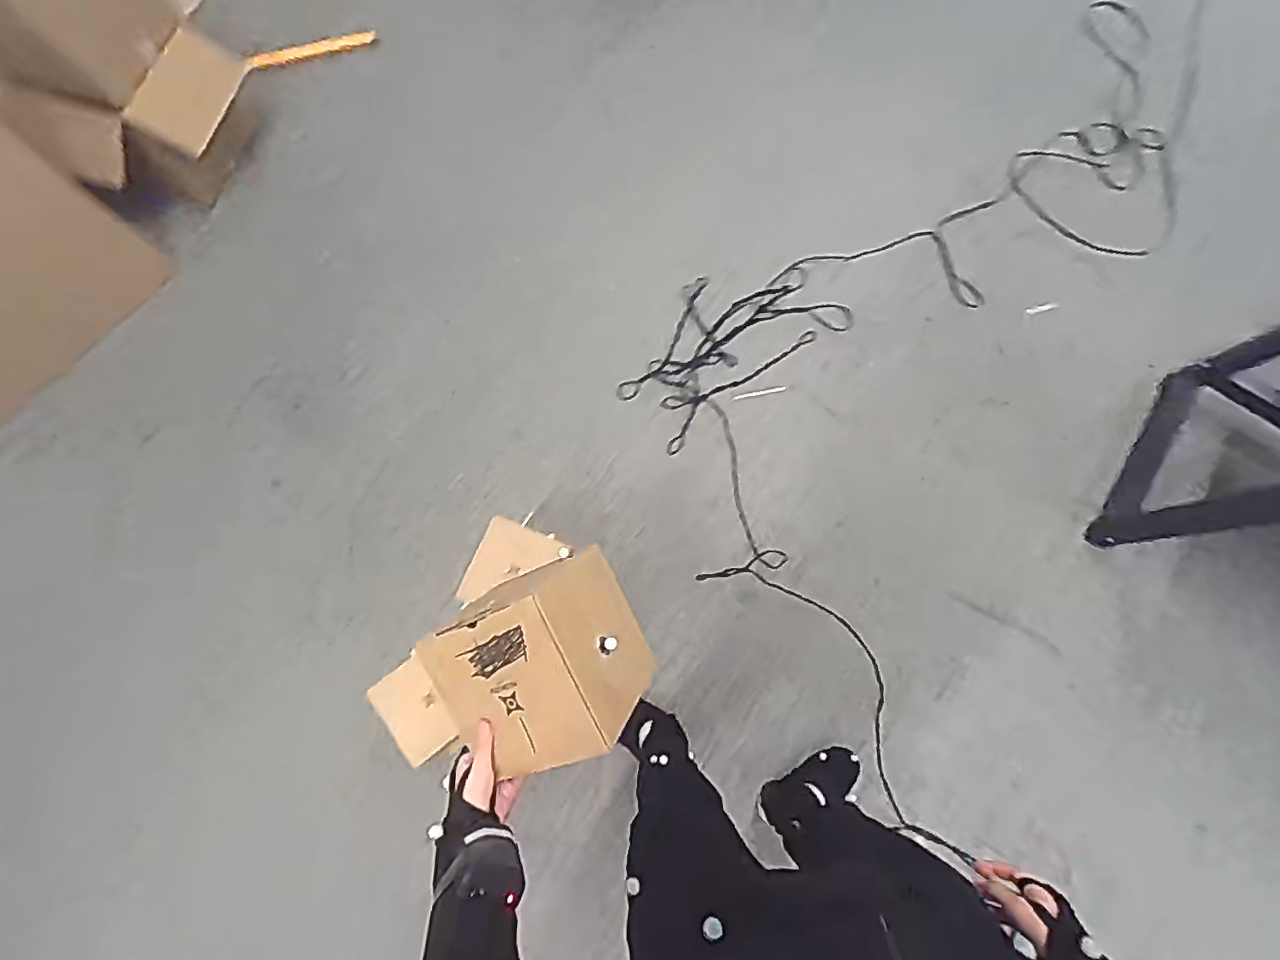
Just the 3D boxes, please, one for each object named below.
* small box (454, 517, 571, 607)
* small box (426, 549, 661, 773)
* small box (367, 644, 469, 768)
[{"bbox_3d":[-0.246,0.198,1.108,0.168,0.176,0.179,23,77,3],"label":"small box"},{"bbox_3d":[-0.100,0.194,0.624,0.168,0.176,0.179,-24,94,24],"label":"small box"},{"bbox_3d":[-0.380,0.416,1.052,0.179,0.176,0.168,-37,79,-11],"label":"small box"}]
